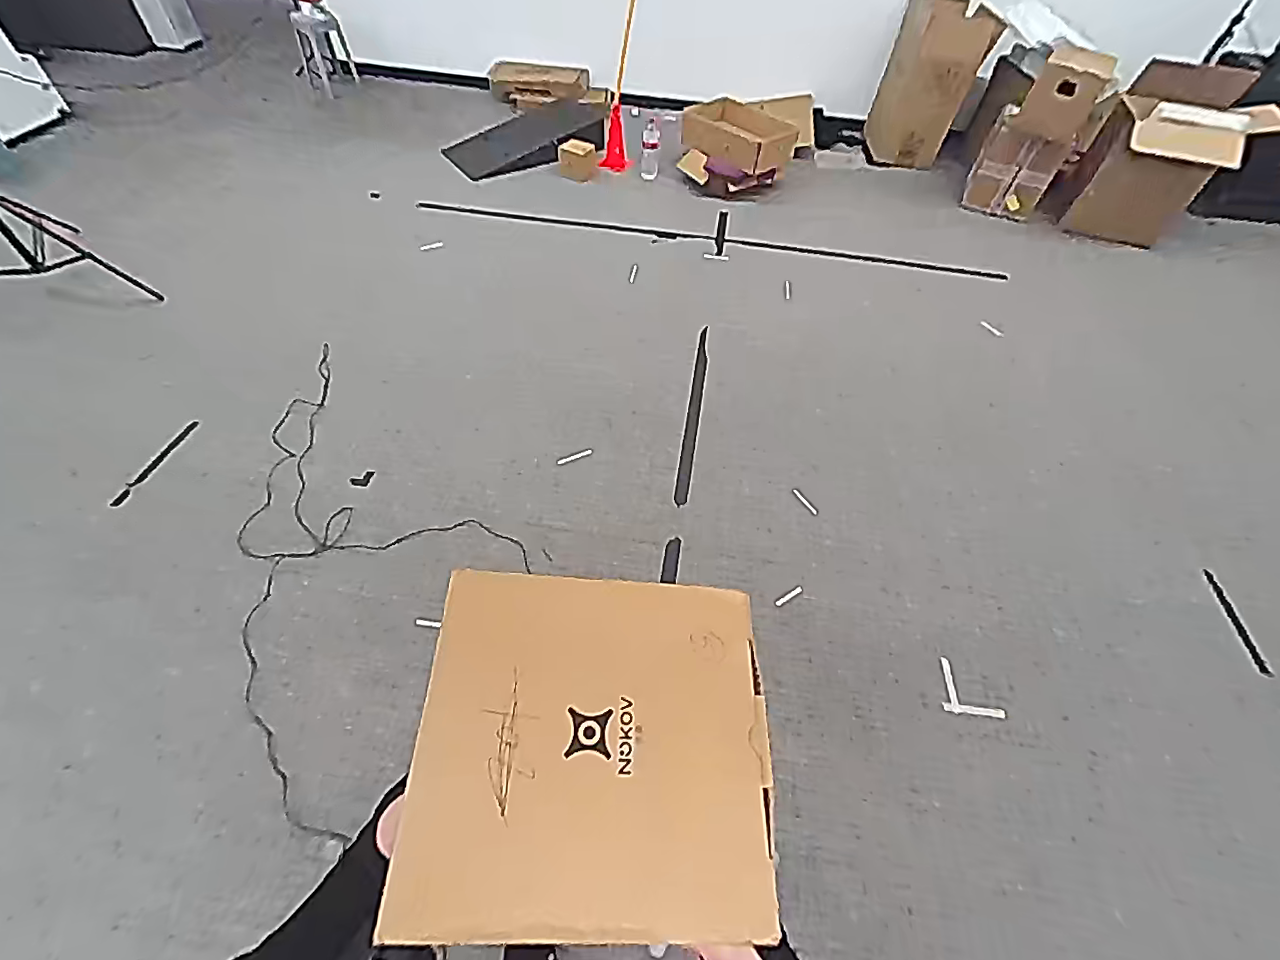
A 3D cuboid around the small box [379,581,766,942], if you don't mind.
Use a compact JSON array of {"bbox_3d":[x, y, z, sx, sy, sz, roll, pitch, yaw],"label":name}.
[{"bbox_3d":[-0.036,0.178,0.350,0.179,0.176,0.168,4,56,-5],"label":"small box"}]
